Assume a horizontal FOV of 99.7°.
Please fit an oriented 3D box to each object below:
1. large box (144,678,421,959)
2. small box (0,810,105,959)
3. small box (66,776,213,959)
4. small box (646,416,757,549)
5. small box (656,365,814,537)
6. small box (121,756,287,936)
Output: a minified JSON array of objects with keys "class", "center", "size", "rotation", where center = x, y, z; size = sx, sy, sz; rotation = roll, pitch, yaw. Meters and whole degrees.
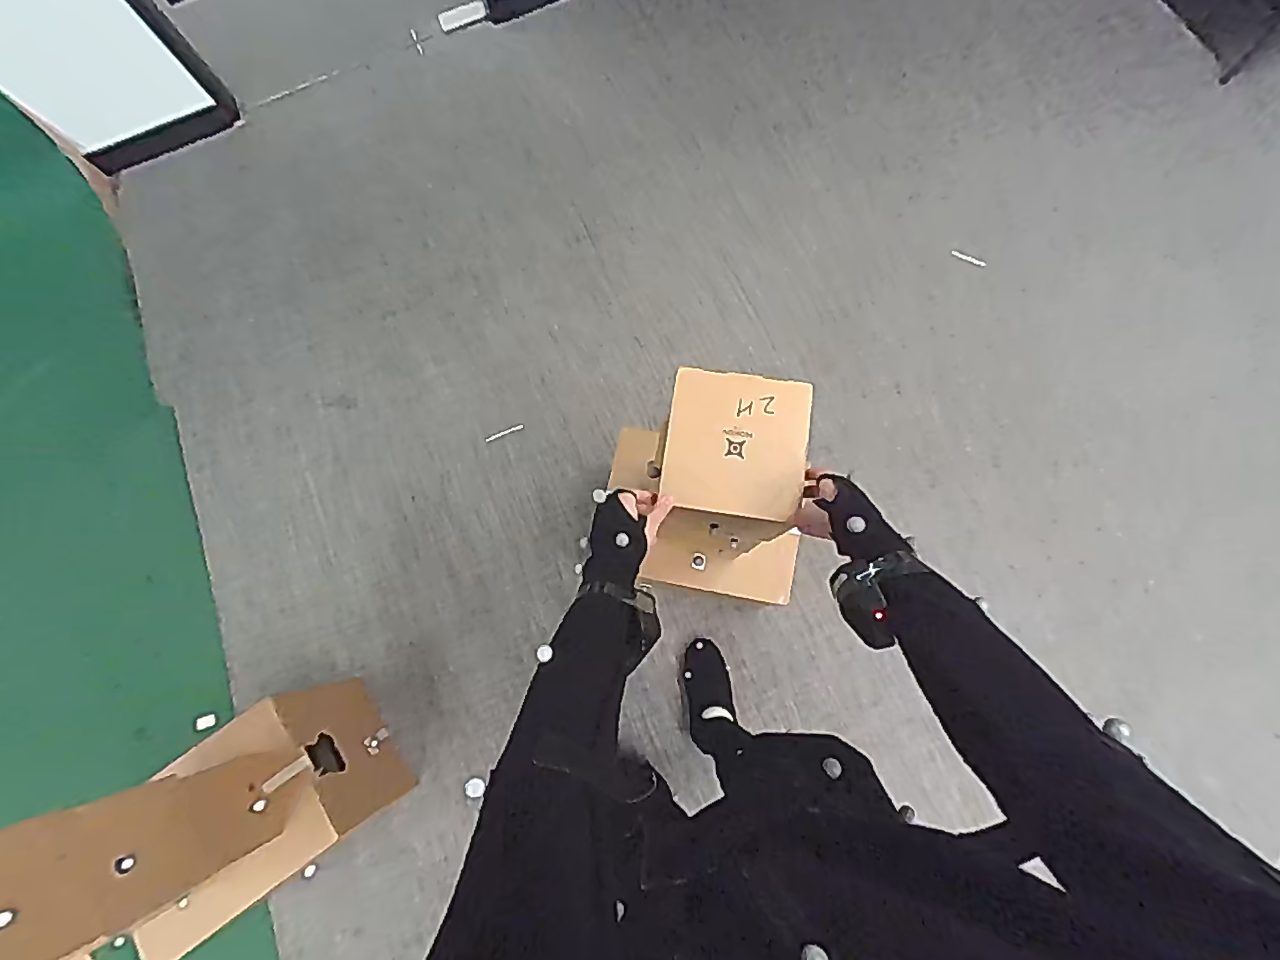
[{"class":"large box","center":[-0.778,0.697,1.178],"size":[0.408,0.320,0.320],"rotation":[-37,75,-4]},{"class":"small box","center":[-0.794,0.534,0.628],"size":[0.168,0.176,0.179],"rotation":[-33,78,-5]},{"class":"small box","center":[-0.778,0.573,0.787],"size":[0.168,0.176,0.179],"rotation":[-31,77,-4]},{"class":"small box","center":[0.111,0.012,0.869],"size":[0.179,0.176,0.168],"rotation":[9,77,4]},{"class":"small box","center":[0.116,-0.027,0.708],"size":[0.168,0.176,0.179],"rotation":[9,77,3]},{"class":"small box","center":[-0.774,0.621,0.943],"size":[0.179,0.176,0.168],"rotation":[-33,77,-5]}]
